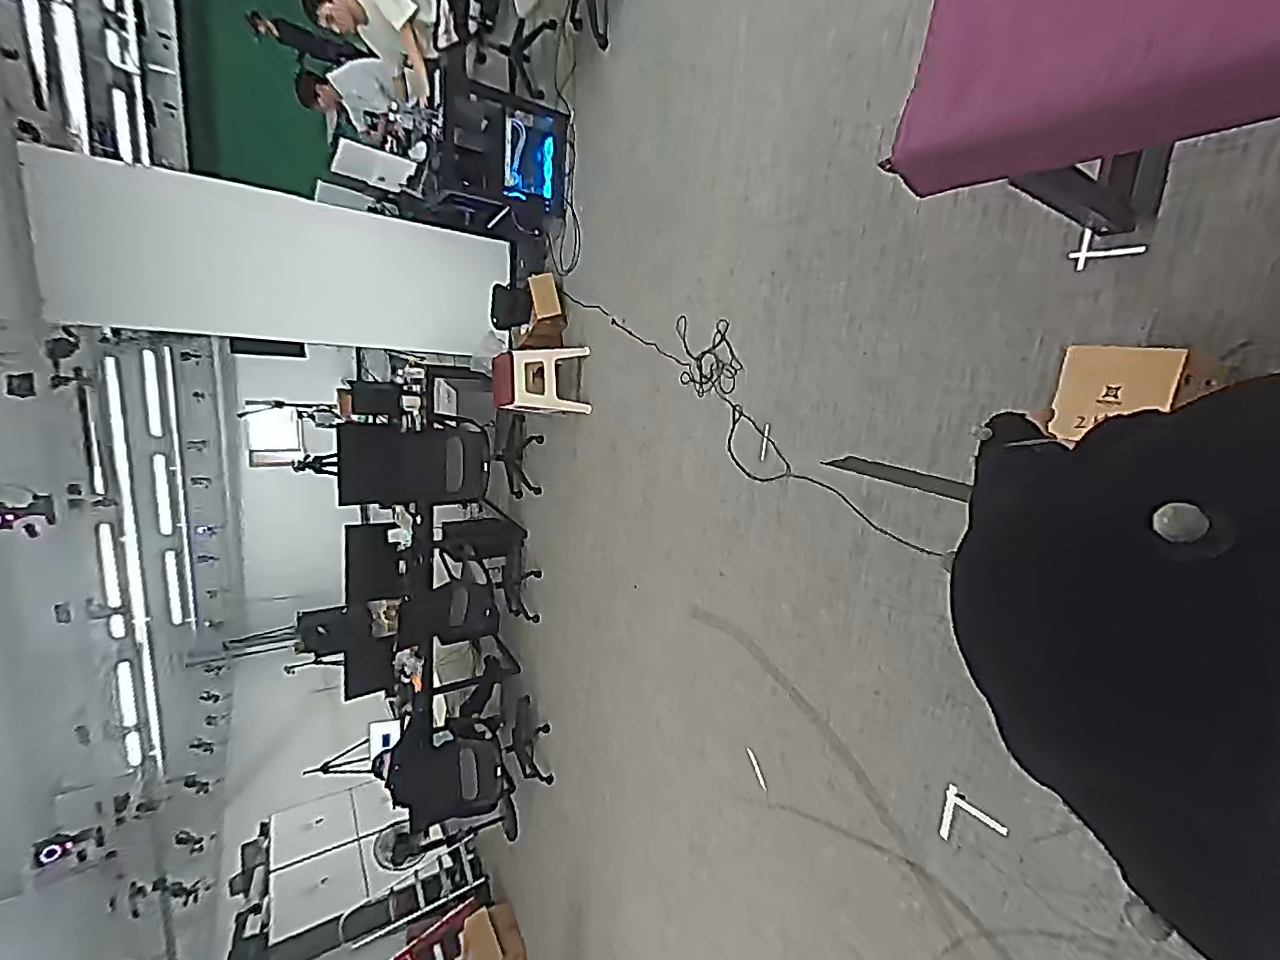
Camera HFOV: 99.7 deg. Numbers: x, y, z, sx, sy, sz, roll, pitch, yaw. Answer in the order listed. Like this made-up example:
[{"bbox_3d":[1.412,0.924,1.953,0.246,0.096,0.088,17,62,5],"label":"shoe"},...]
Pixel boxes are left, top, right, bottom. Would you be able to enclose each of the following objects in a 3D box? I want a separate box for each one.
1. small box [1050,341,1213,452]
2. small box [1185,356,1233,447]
[{"bbox_3d":[0.897,-0.154,0.988,0.168,0.176,0.179,23,113,53],"label":"small box"},{"bbox_3d":[1.031,-0.168,1.084,0.168,0.176,0.179,31,118,51],"label":"small box"}]
